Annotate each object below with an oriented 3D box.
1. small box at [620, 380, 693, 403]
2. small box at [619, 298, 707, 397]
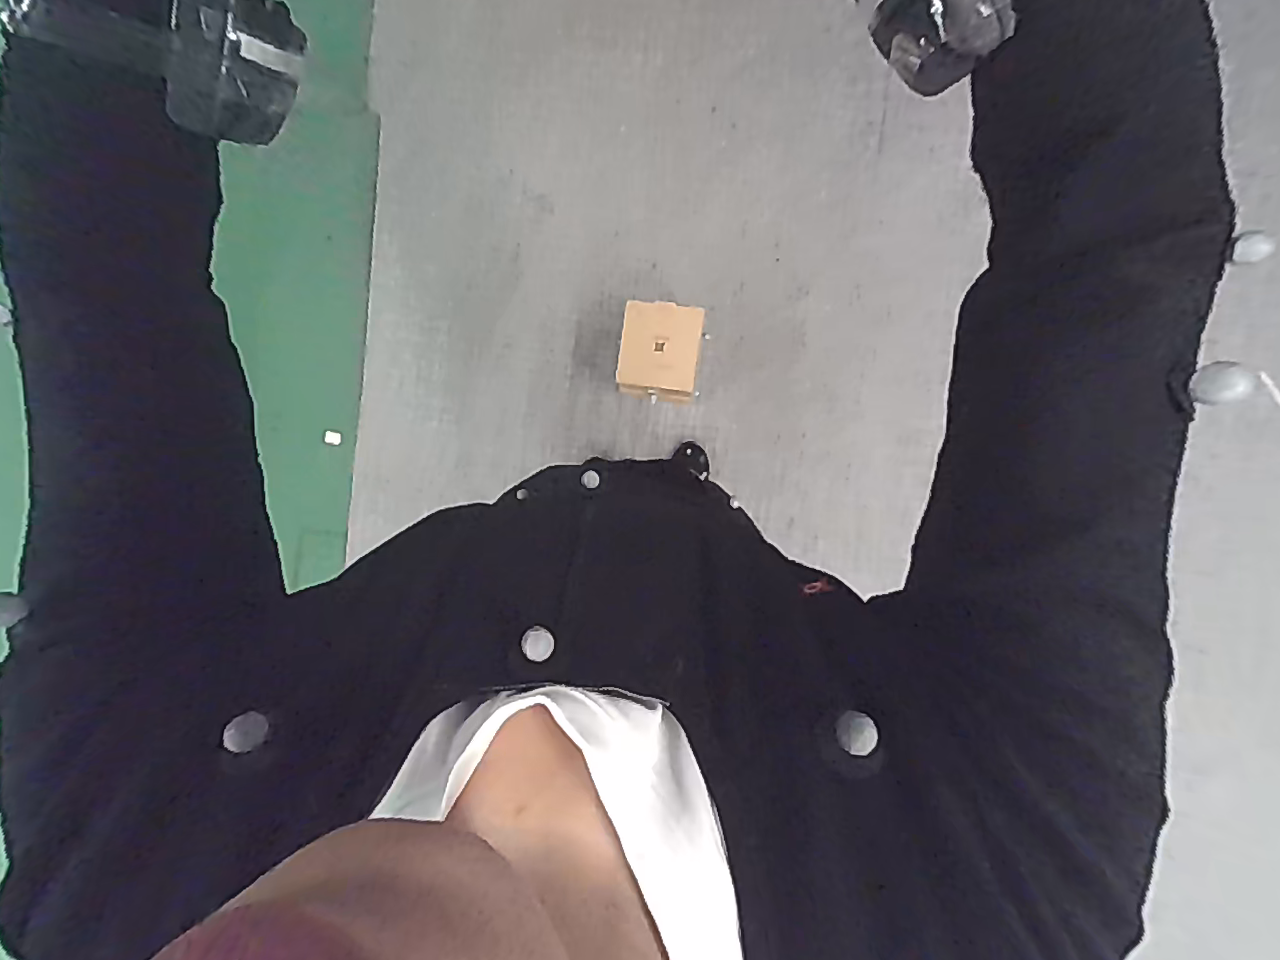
[{"bbox_3d":[0.060,-0.292,1.366,0.179,0.176,0.168,9,94,7],"label":"small box"},{"bbox_3d":[0.056,-0.289,1.205,0.168,0.176,0.179,8,95,8],"label":"small box"}]
